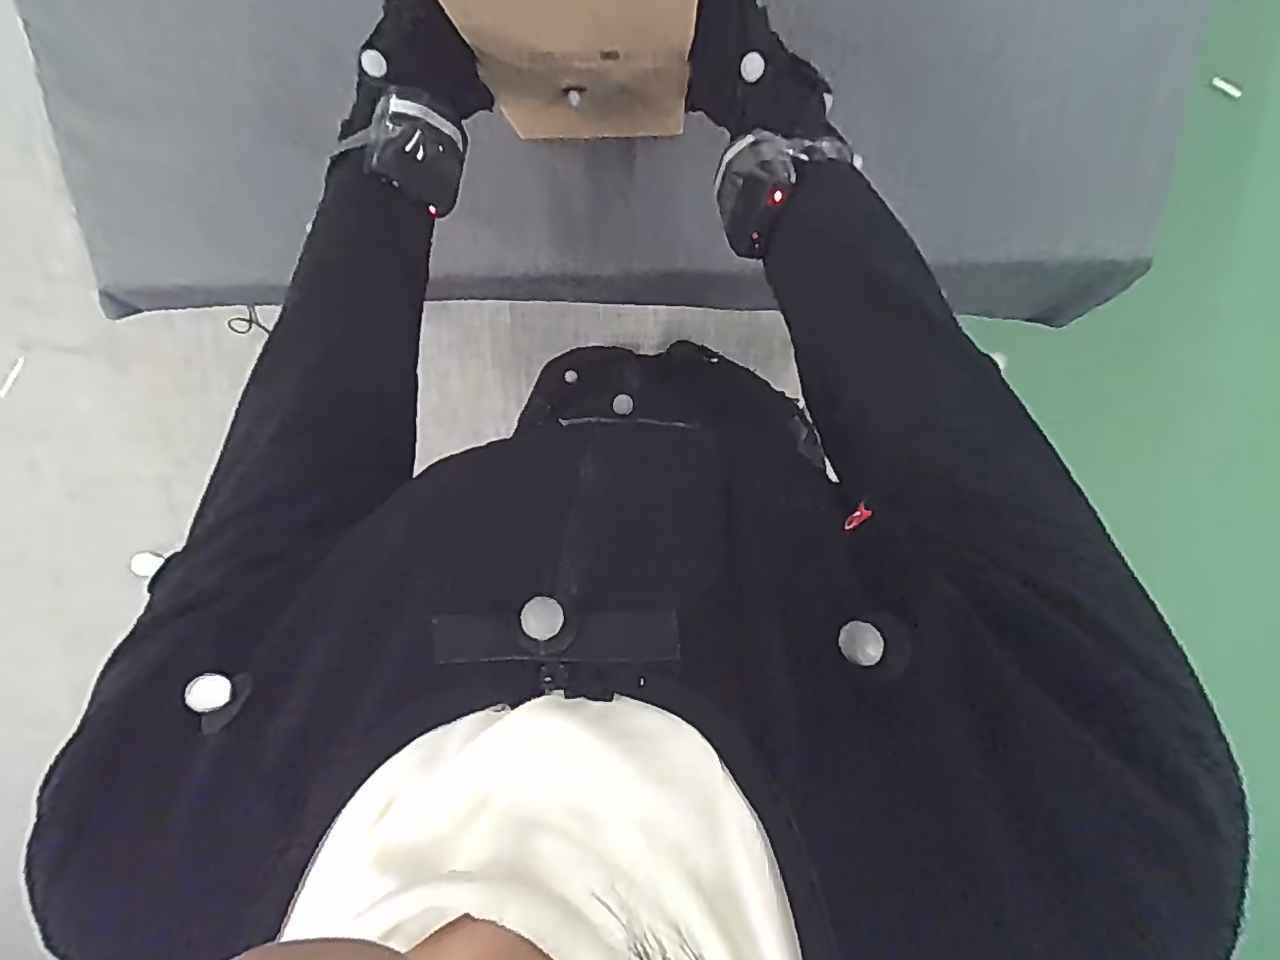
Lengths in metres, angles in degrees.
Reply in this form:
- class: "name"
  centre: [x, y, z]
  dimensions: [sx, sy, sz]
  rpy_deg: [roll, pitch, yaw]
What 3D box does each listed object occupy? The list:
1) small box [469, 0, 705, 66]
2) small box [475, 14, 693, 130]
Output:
- class: "small box"
  centre: [-0.041, -0.395, 0.331]
  dimensions: [0.168, 0.176, 0.179]
  rpy_deg: [-2, 106, 2]
- class: "small box"
  centre: [-0.041, -0.435, 0.487]
  dimensions: [0.179, 0.176, 0.168]
  rpy_deg: [0, 106, 2]
